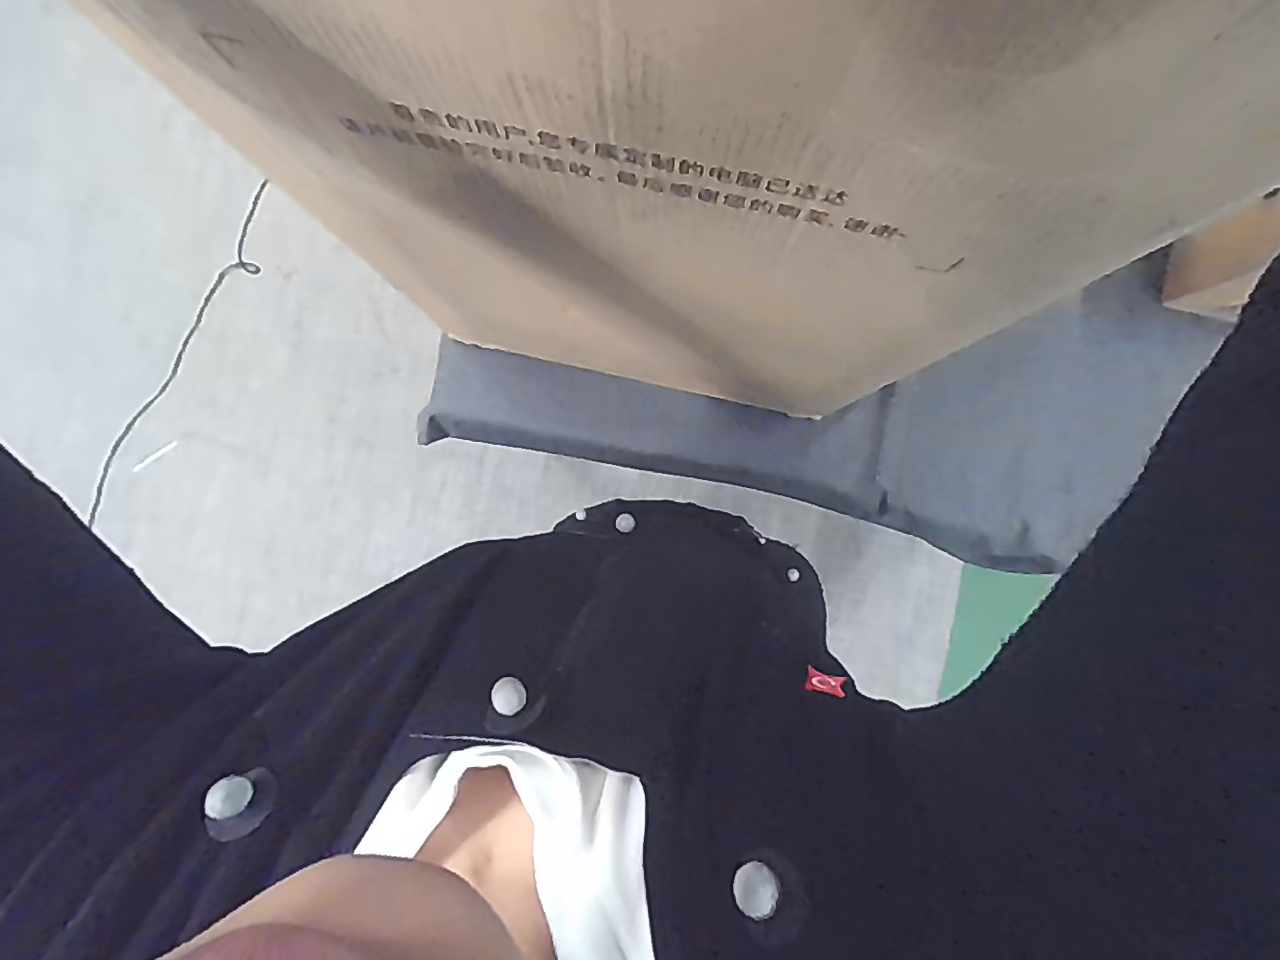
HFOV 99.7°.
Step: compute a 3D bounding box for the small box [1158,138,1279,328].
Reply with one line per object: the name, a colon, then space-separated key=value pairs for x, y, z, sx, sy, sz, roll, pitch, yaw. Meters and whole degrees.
small box: x=0.818 y=-0.315 z=0.680 sx=0.168 sy=0.176 sz=0.179 roll=14 pitch=89 yaw=1
